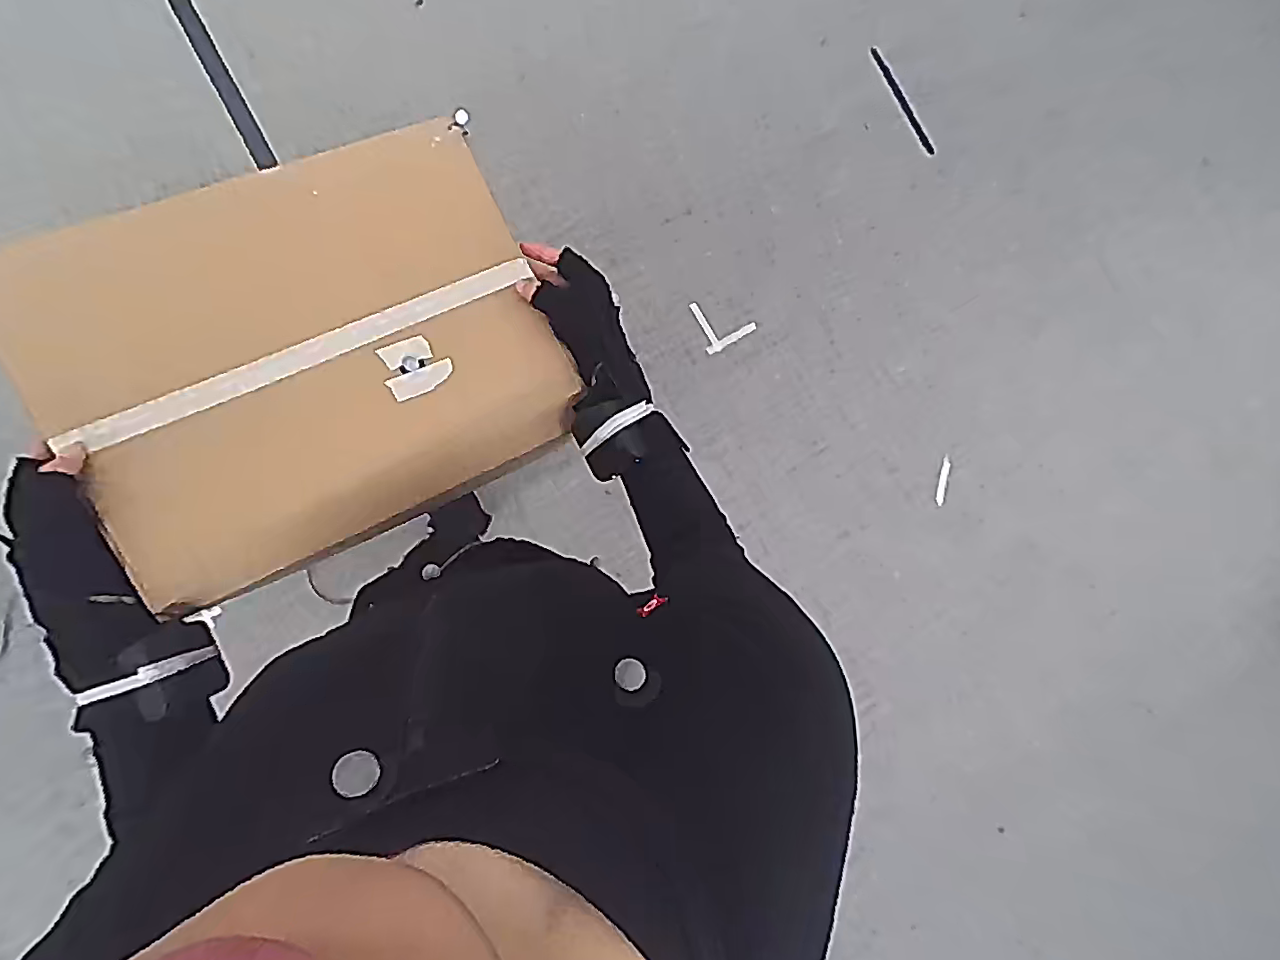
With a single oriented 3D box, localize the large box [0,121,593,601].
[{"bbox_3d":[-0.319,-0.115,0.630,0.408,0.320,0.320,-28,96,-14],"label":"large box"}]
